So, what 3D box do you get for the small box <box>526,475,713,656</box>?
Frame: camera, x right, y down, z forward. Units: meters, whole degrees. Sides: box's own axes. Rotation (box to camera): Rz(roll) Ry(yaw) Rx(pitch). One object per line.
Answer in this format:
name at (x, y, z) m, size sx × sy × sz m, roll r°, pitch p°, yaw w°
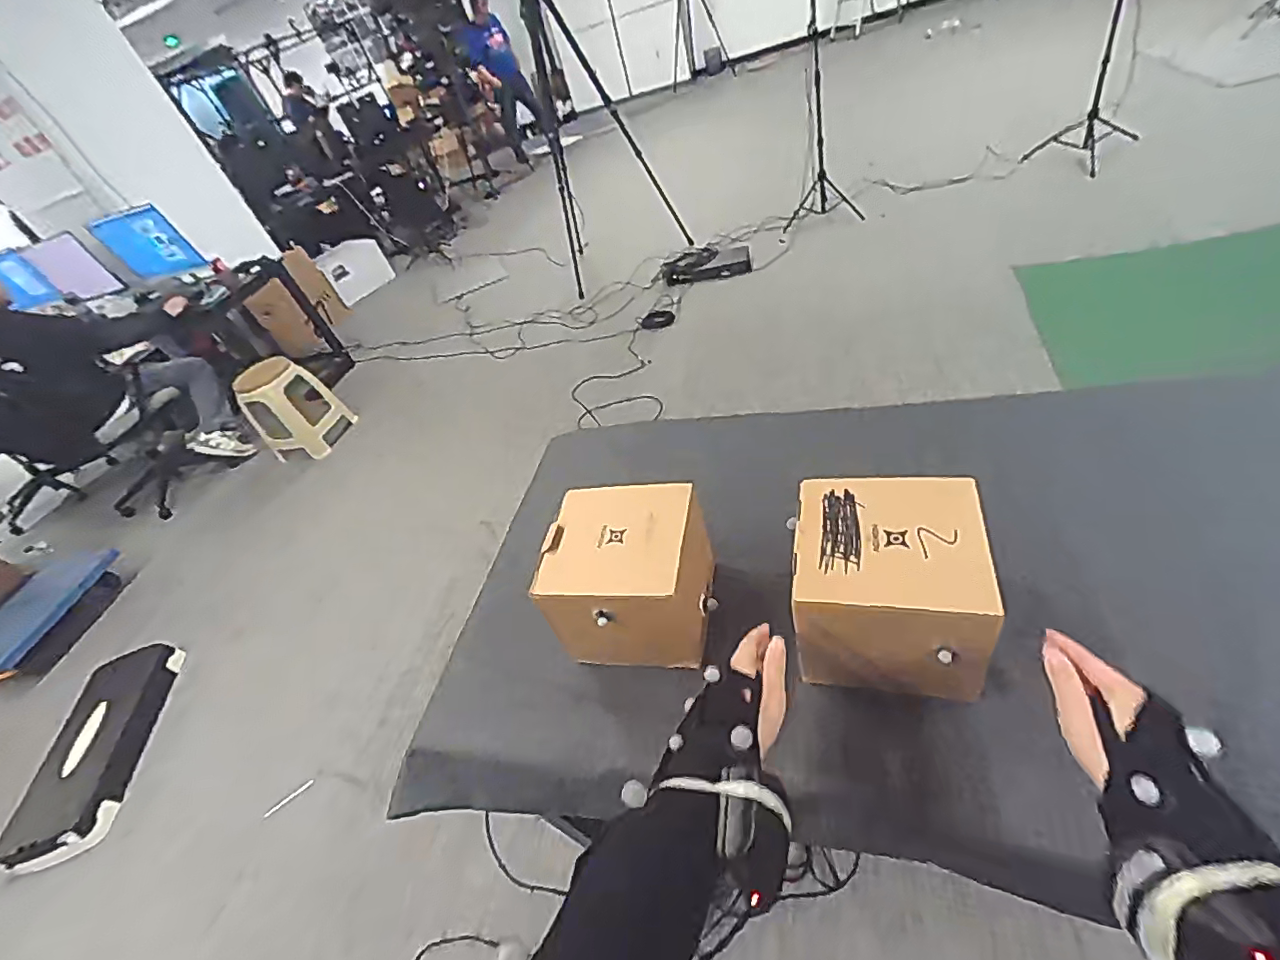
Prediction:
small box at (-0.013, 0.112, 0.697) m, size 0.179 × 0.176 × 0.168 m, roll -2°, pitch 46°, yaw 19°
